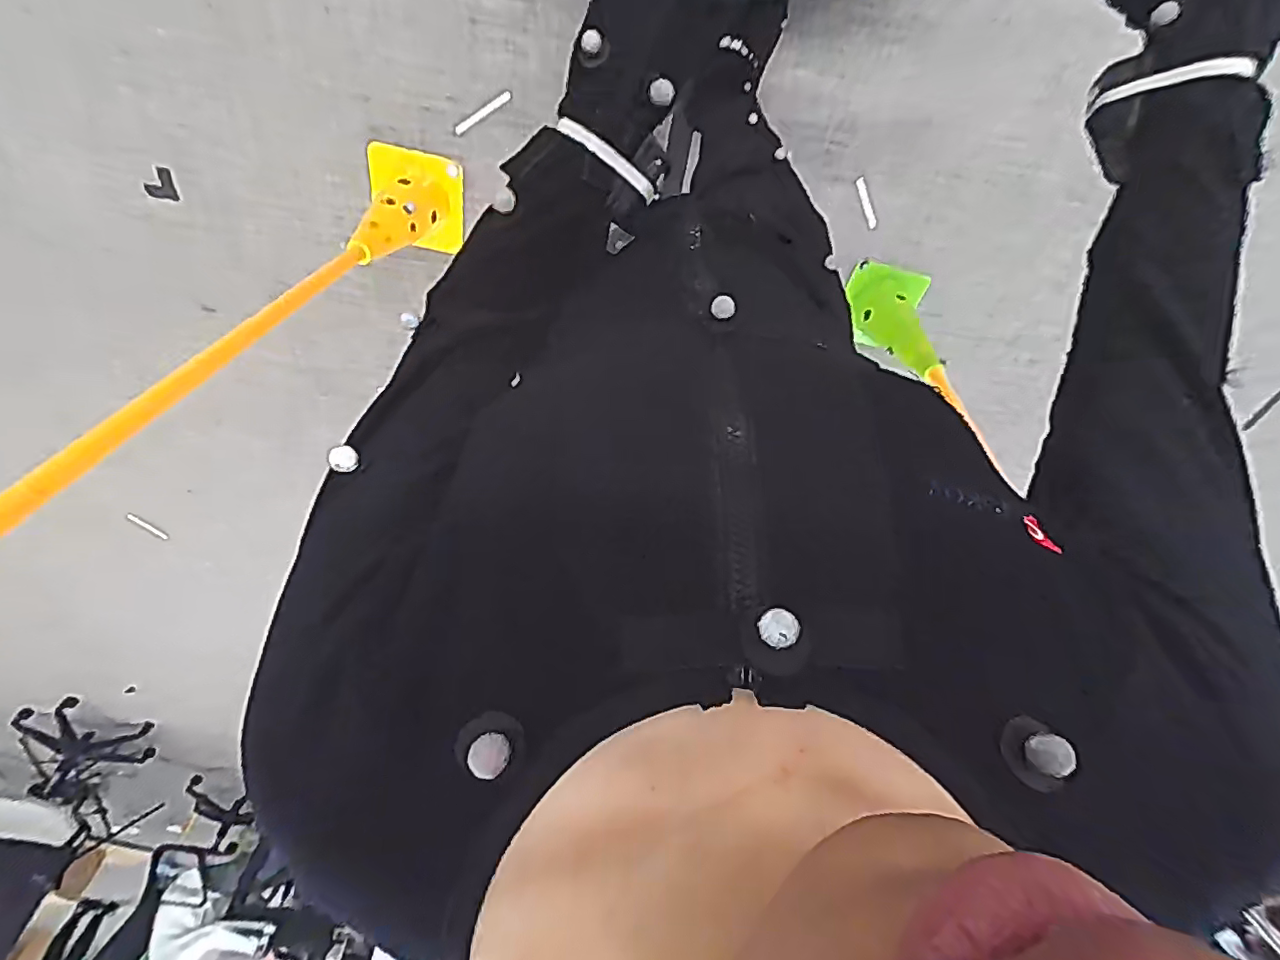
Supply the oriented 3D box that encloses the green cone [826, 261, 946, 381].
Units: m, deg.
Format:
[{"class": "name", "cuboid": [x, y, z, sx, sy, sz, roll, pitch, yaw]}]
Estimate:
[{"class": "green cone", "cuboid": [0.605, -0.336, 1.256, 0.202, 0.368, 0.200, 9, 130, -9]}]
